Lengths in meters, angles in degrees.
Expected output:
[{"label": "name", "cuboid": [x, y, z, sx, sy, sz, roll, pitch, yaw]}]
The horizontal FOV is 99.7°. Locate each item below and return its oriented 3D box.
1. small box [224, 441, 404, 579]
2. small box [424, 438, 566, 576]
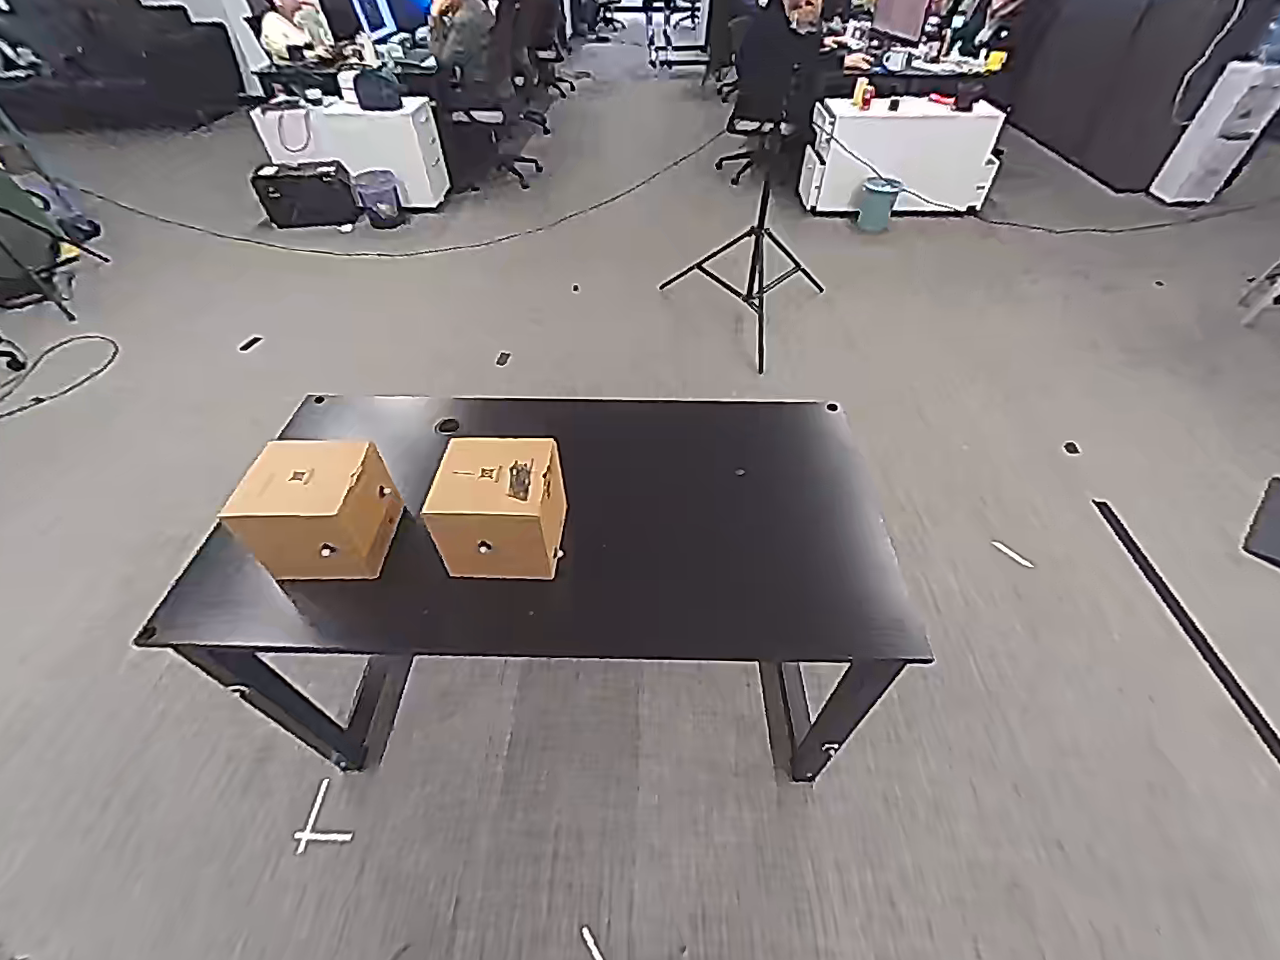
[{"label": "small box", "cuboid": [-0.520, 0.052, 0.899, 0.179, 0.176, 0.168, -2, 46, 0]}, {"label": "small box", "cuboid": [-0.225, 0.047, 0.898, 0.179, 0.176, 0.168, 1, 47, 3]}]
